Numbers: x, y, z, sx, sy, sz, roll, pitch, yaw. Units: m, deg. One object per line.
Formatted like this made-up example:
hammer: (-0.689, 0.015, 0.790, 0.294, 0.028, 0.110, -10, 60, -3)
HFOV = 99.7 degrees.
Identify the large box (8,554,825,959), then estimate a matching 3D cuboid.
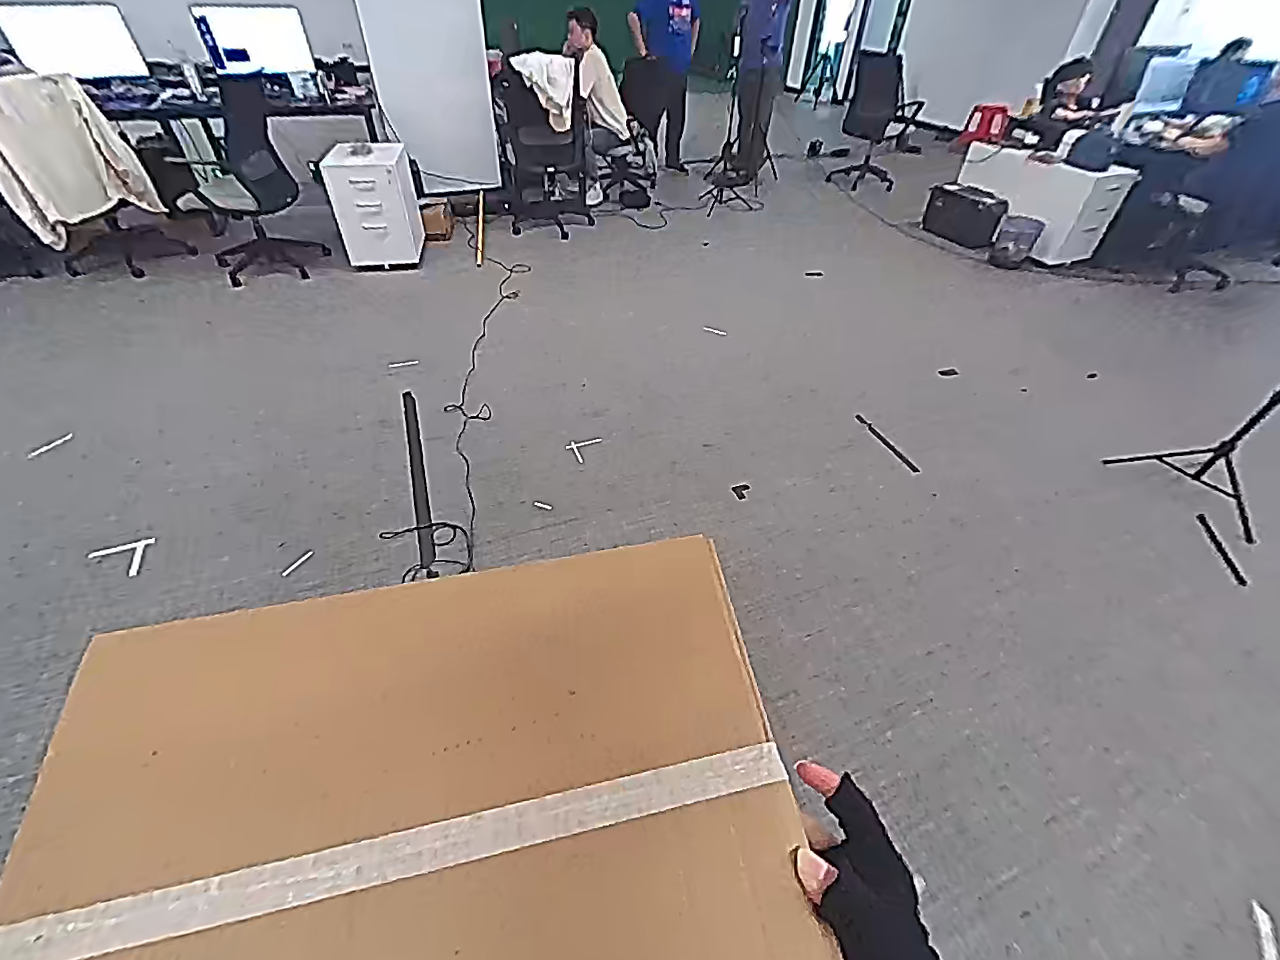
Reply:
large box: (-0.121, 0.292, 0.418, 0.408, 0.320, 0.320, -8, 56, -9)
